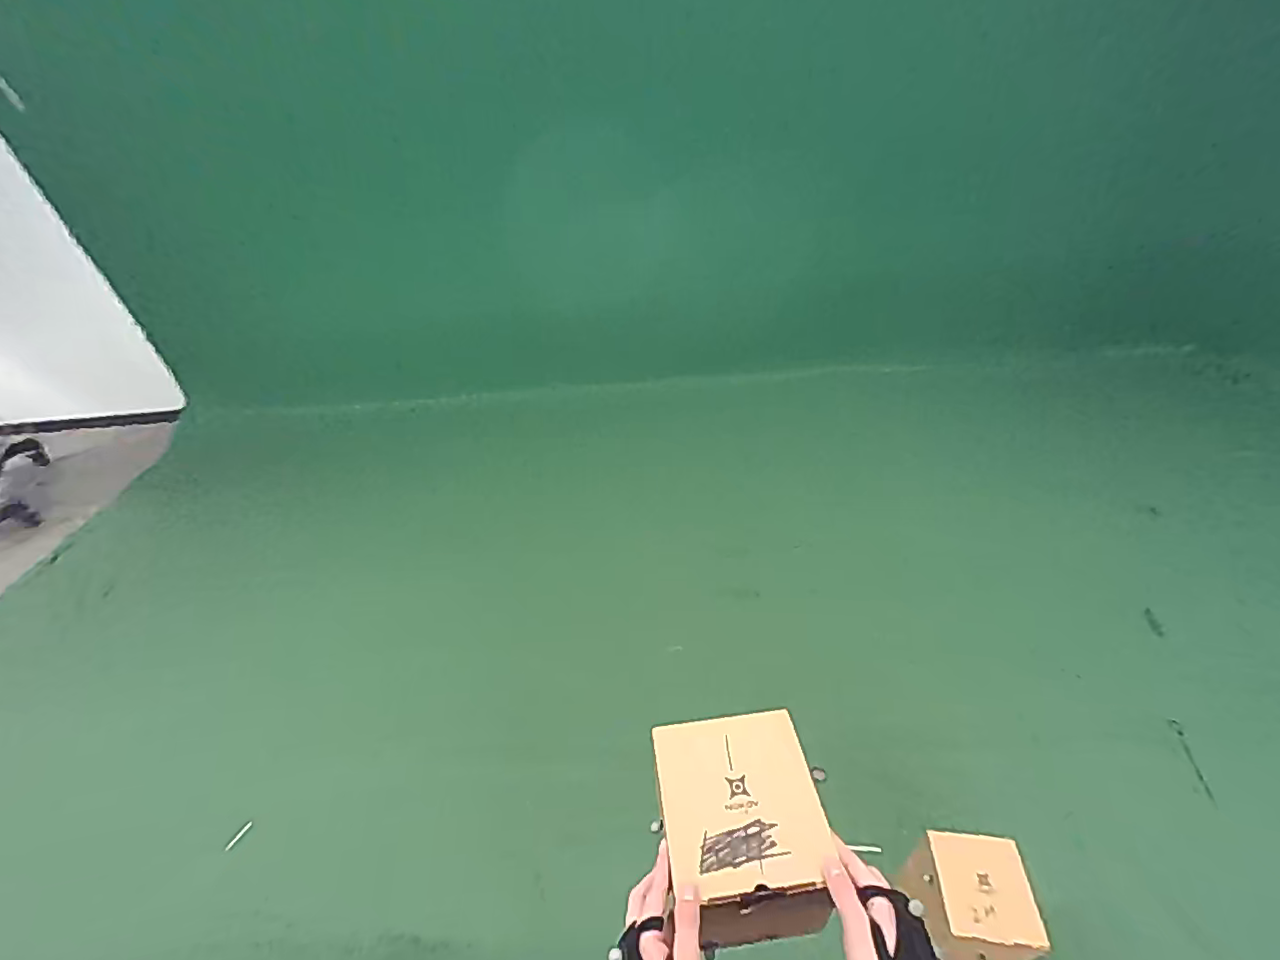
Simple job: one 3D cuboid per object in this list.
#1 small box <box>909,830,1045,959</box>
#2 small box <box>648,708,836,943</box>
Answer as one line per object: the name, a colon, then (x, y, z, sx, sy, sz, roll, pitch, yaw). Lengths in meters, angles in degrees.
small box: (0.663, 0.846, 1.093, 0.168, 0.176, 0.179, 1, 41, 10)
small box: (0.103, 0.395, 0.618, 0.168, 0.176, 0.179, -6, 36, -4)
